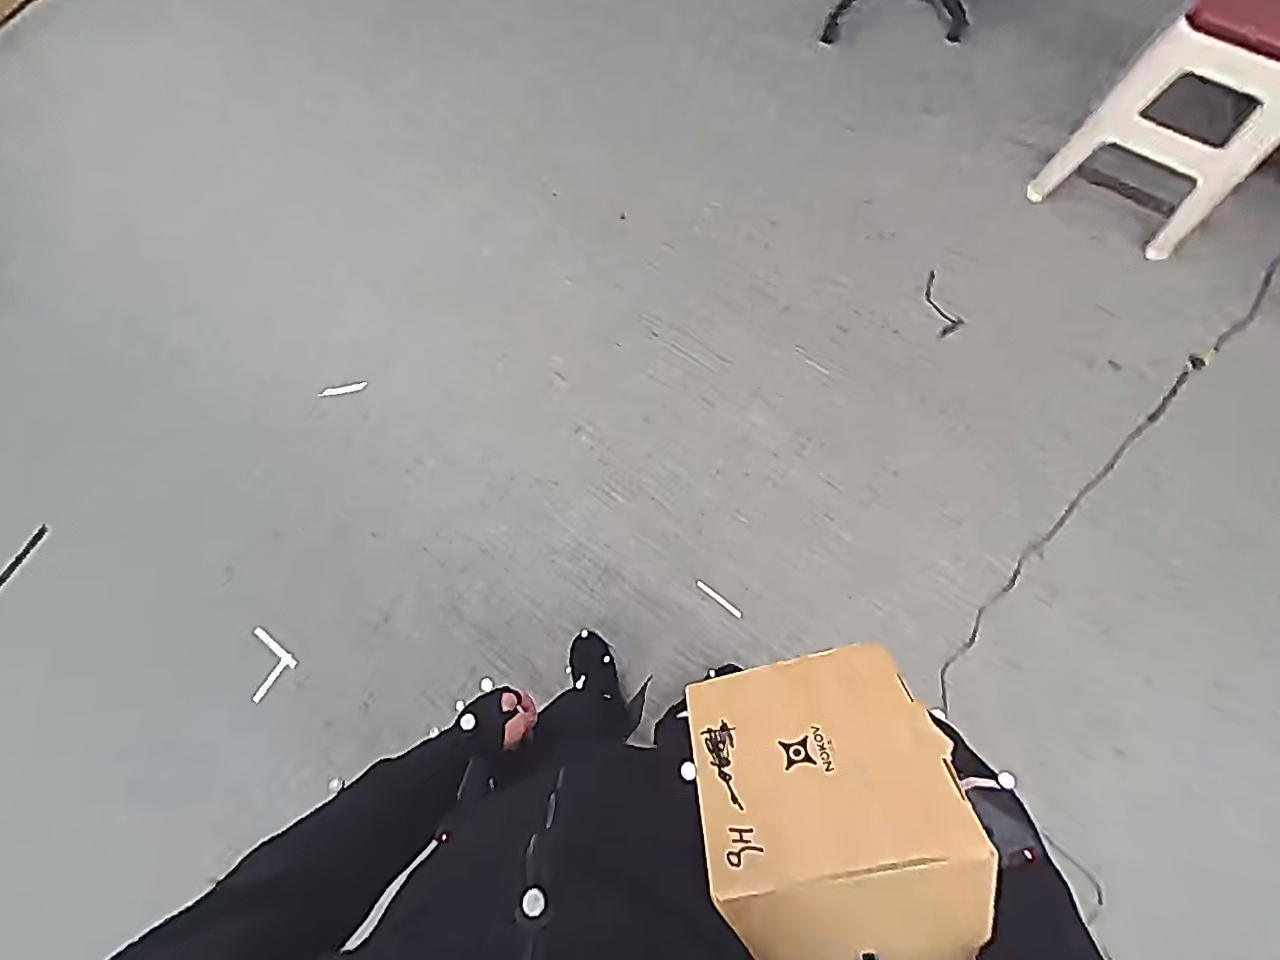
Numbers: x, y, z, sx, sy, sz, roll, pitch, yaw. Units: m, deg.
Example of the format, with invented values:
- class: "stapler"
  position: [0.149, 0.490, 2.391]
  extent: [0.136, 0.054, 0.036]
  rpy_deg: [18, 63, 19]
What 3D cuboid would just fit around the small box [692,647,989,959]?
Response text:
- class: "small box"
  position: [0.154, 0.274, 0.451]
  extent: [0.179, 0.168, 0.176]
  rpy_deg: [-16, 119, 7]
